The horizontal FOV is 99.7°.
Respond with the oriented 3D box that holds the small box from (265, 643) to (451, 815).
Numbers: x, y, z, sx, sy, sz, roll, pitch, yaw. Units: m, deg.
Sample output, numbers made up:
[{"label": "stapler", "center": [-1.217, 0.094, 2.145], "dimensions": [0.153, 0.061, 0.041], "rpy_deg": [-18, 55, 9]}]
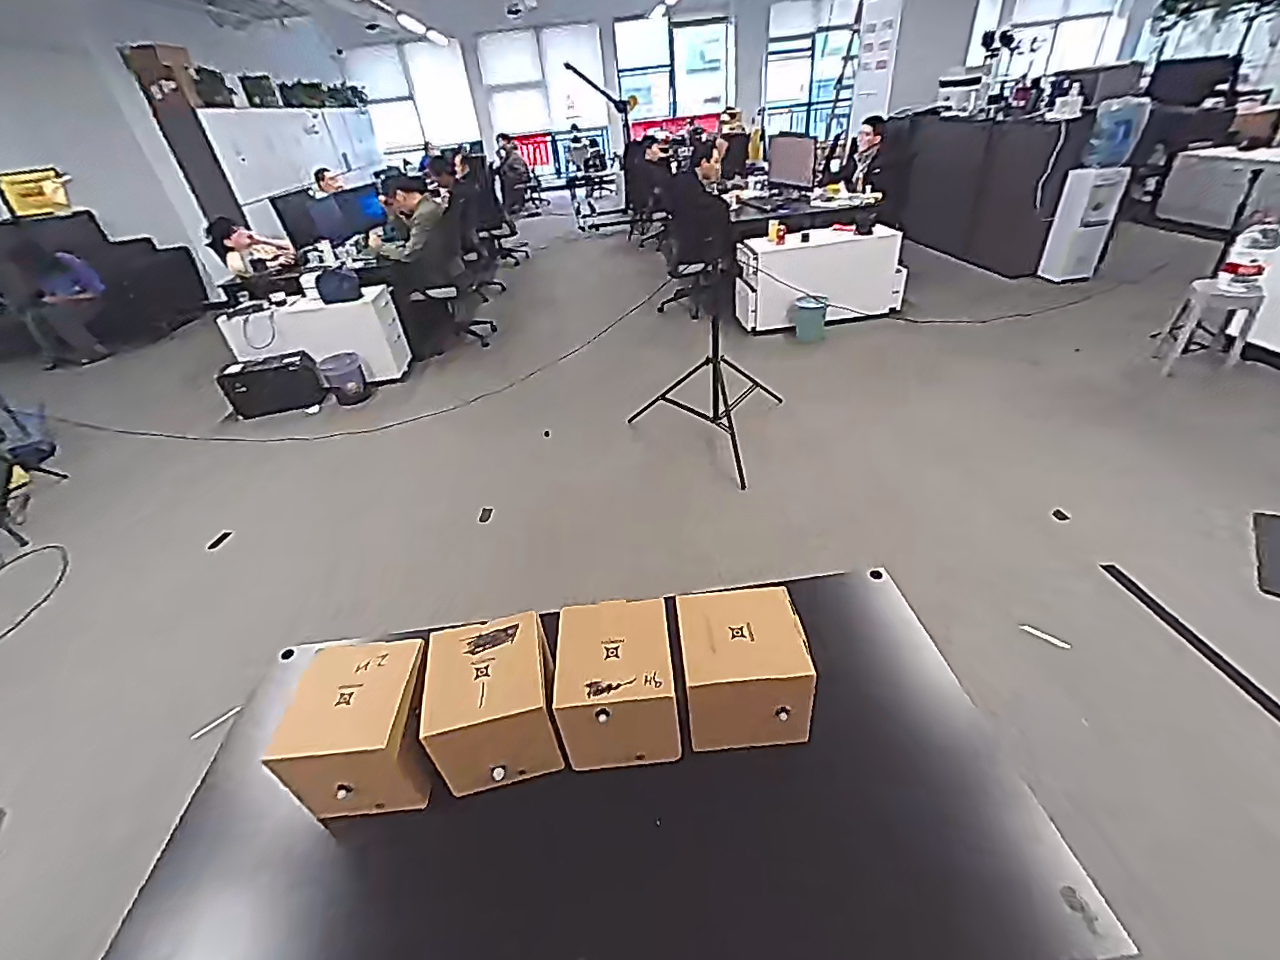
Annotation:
[{"label": "small box", "center": [-0.399, 0.373, 0.806], "dimensions": [0.168, 0.176, 0.179], "rpy_deg": [-6, 34, 0]}]
